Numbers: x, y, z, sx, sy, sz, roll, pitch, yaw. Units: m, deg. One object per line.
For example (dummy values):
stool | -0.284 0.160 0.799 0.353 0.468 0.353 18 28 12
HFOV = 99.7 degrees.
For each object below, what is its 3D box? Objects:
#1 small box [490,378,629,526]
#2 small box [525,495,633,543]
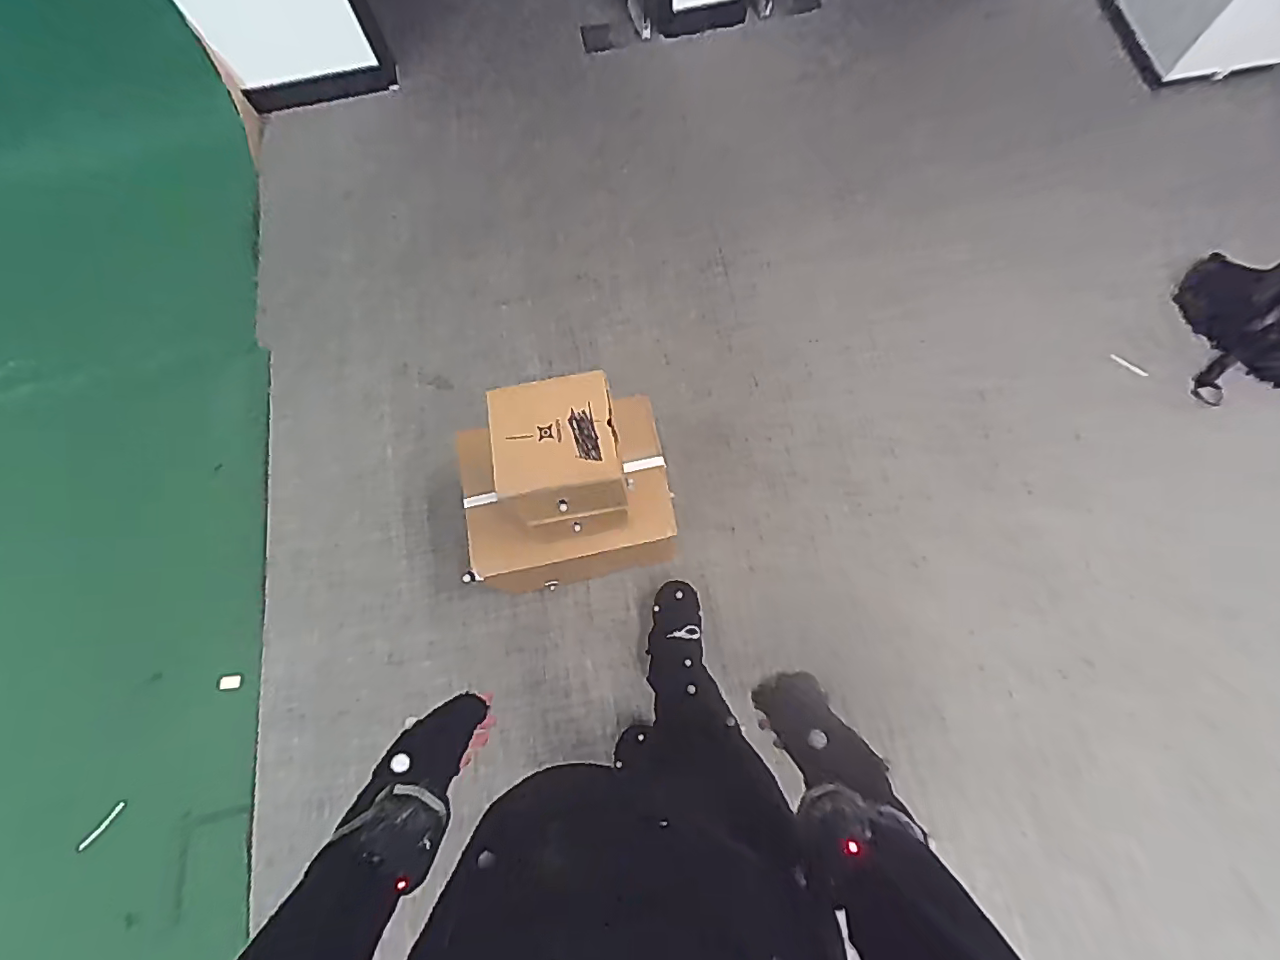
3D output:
small box | -0.115 -0.036 0.835 0.179 0.176 0.168 -12 74 -1
small box | -0.114 0.013 0.992 0.179 0.176 0.168 -10 74 -1
